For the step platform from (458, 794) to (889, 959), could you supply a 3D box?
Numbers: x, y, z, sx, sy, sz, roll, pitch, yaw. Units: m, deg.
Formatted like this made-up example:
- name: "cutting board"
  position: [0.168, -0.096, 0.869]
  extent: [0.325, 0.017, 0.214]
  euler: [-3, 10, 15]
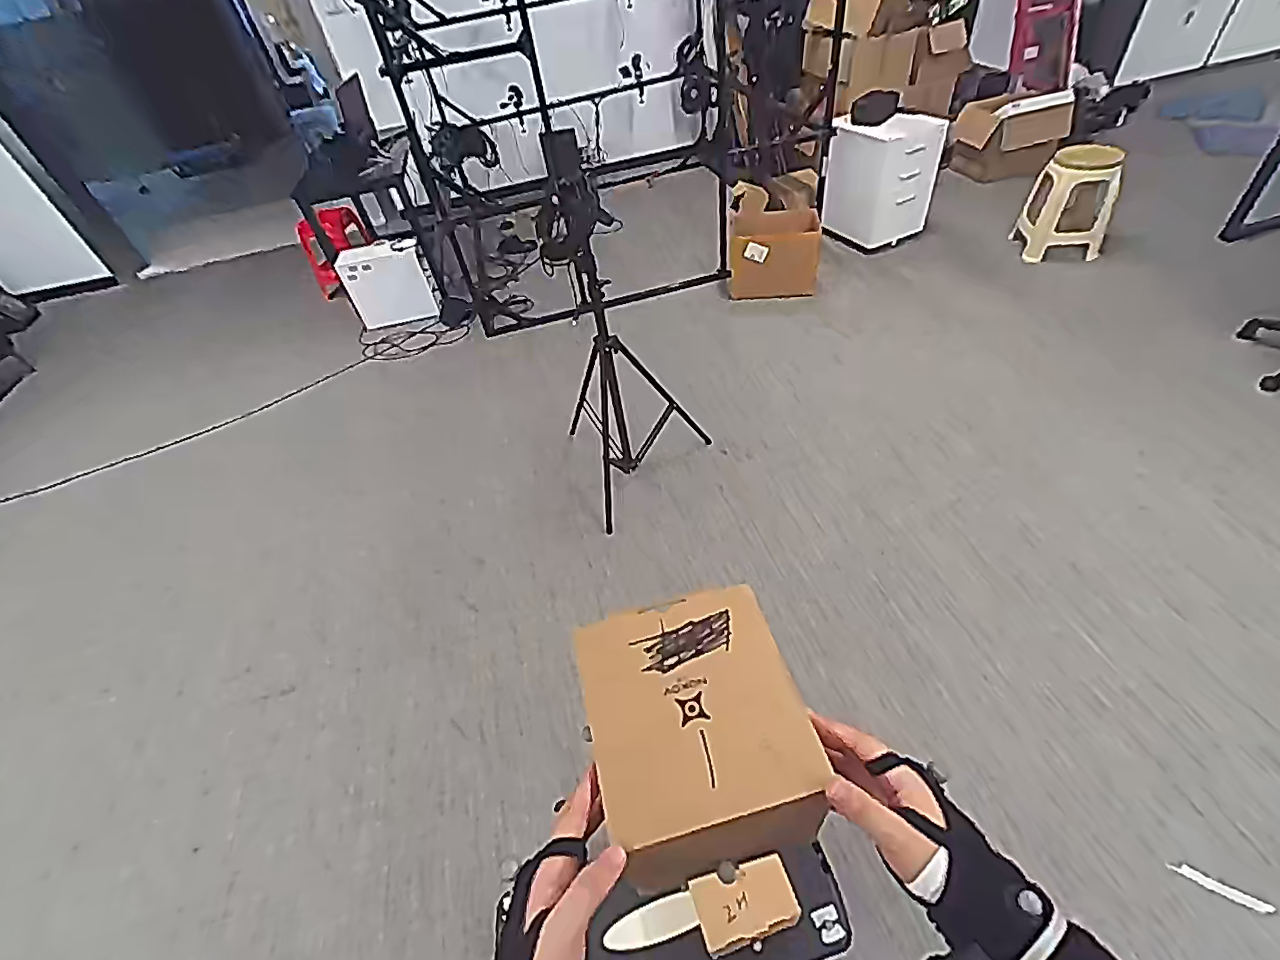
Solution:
- name: "step platform"
  position: [0.053, 0.768, 0.935]
  extent: [0.684, 0.204, 0.286]
  euler: [-16, 45, -7]

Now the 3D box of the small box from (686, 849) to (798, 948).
- name: "small box"
  position: [0.172, 0.730, 1.000]
  extent: [0.168, 0.176, 0.179]
  euler: [-18, 46, -6]

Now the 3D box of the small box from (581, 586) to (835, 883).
- name: "small box"
  position: [0.051, 0.230, 0.492]
  extent: [0.168, 0.176, 0.179]
  euler: [-14, 46, -4]
